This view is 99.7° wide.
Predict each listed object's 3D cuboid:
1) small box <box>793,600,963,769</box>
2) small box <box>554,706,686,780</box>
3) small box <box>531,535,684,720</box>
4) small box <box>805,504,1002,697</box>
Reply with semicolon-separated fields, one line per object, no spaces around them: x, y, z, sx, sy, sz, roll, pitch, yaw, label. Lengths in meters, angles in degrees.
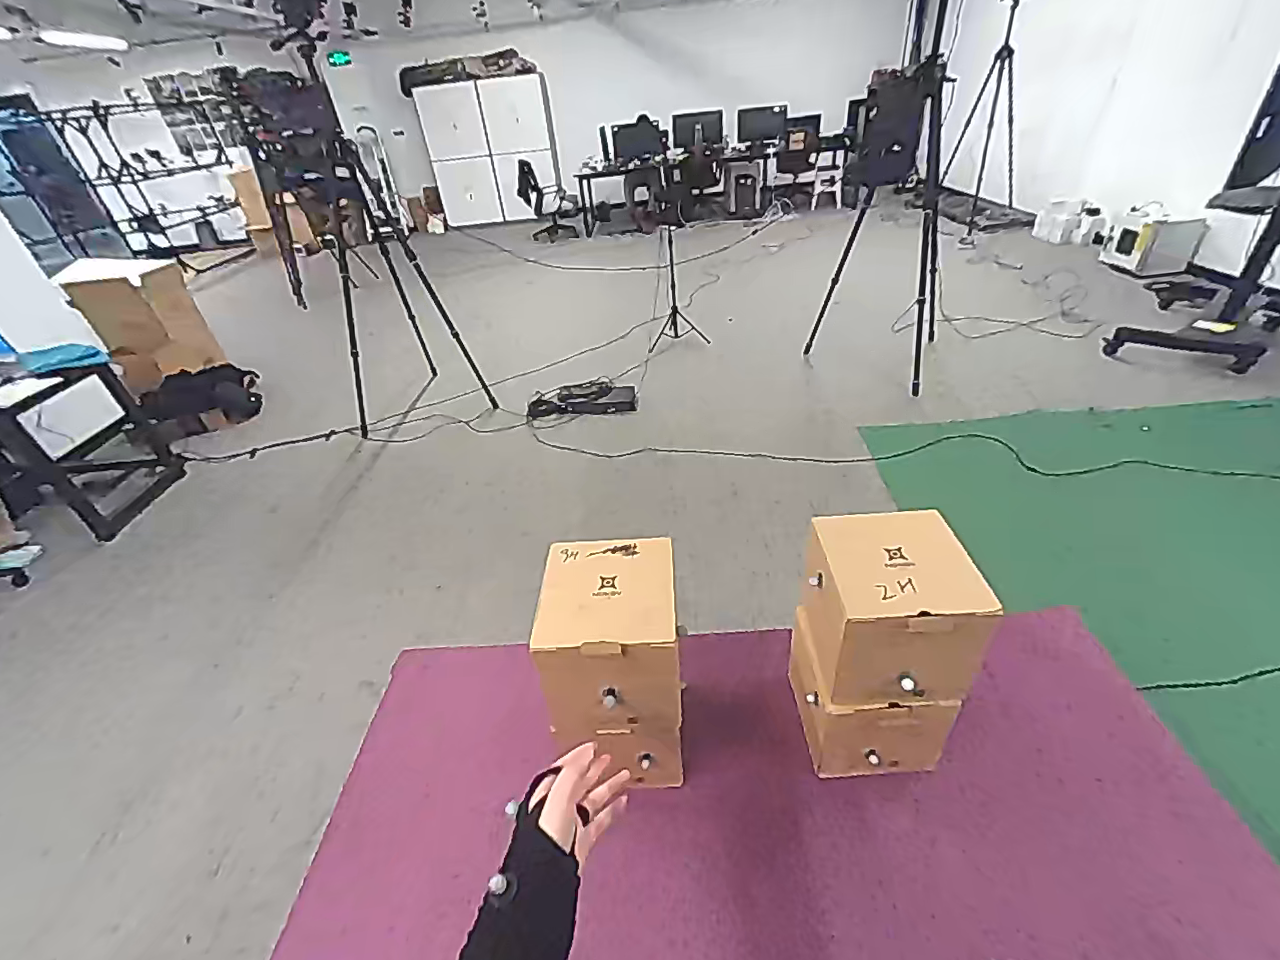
0.327;0.289;0.788;0.168;0.176;0.179;-6;37;3;small box
-0.021;0.326;0.805;0.168;0.176;0.179;-4;36;4;small box
-0.031;0.195;0.705;0.168;0.176;0.179;-4;37;4;small box
0.316;0.153;0.696;0.168;0.176;0.179;-5;37;5;small box
